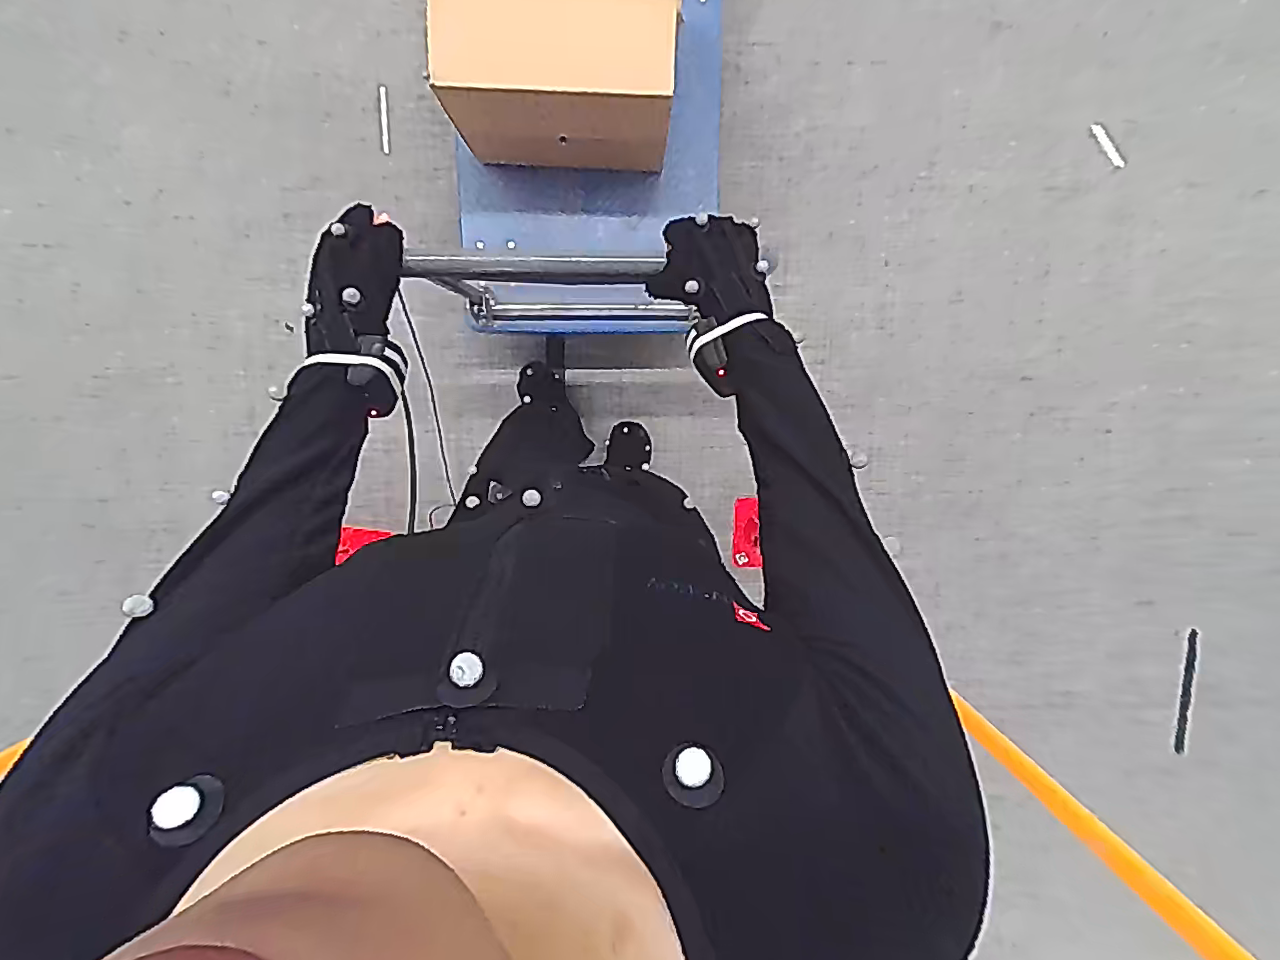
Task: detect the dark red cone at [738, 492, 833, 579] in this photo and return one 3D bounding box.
[{"bbox_3d":[0.370,0.158,1.299,0.201,0.394,0.202,0,99,-2],"label":"dark red cone"}]

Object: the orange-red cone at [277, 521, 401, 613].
[{"bbox_3d":[-0.761,0.240,1.324,0.198,0.360,0.199,8,97,-2],"label":"orange-red cone"}]

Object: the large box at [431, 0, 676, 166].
[{"bbox_3d":[-0.139,-0.818,1.019,0.408,0.320,0.320,2,99,0],"label":"large box"}]
